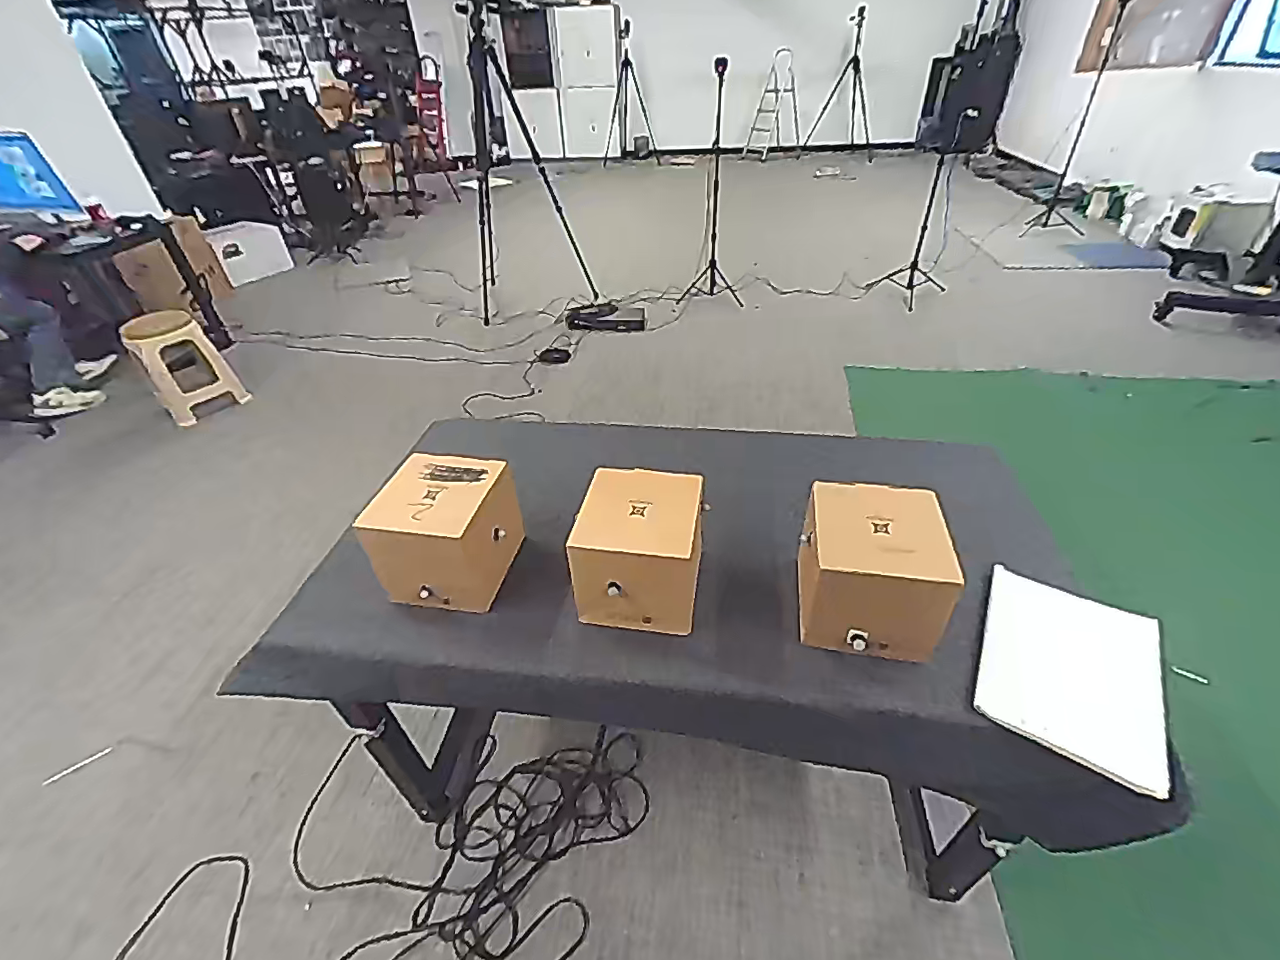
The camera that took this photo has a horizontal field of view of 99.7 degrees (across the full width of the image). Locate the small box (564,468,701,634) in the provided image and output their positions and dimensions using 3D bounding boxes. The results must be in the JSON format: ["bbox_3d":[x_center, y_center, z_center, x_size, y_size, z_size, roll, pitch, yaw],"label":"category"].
[{"bbox_3d":[0.000,0.104,0.797,0.168,0.176,0.179,4,38,10],"label":"small box"}]

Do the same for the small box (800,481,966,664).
[{"bbox_3d":[0.318,0.124,0.749,0.168,0.176,0.179,4,40,11],"label":"small box"}]
